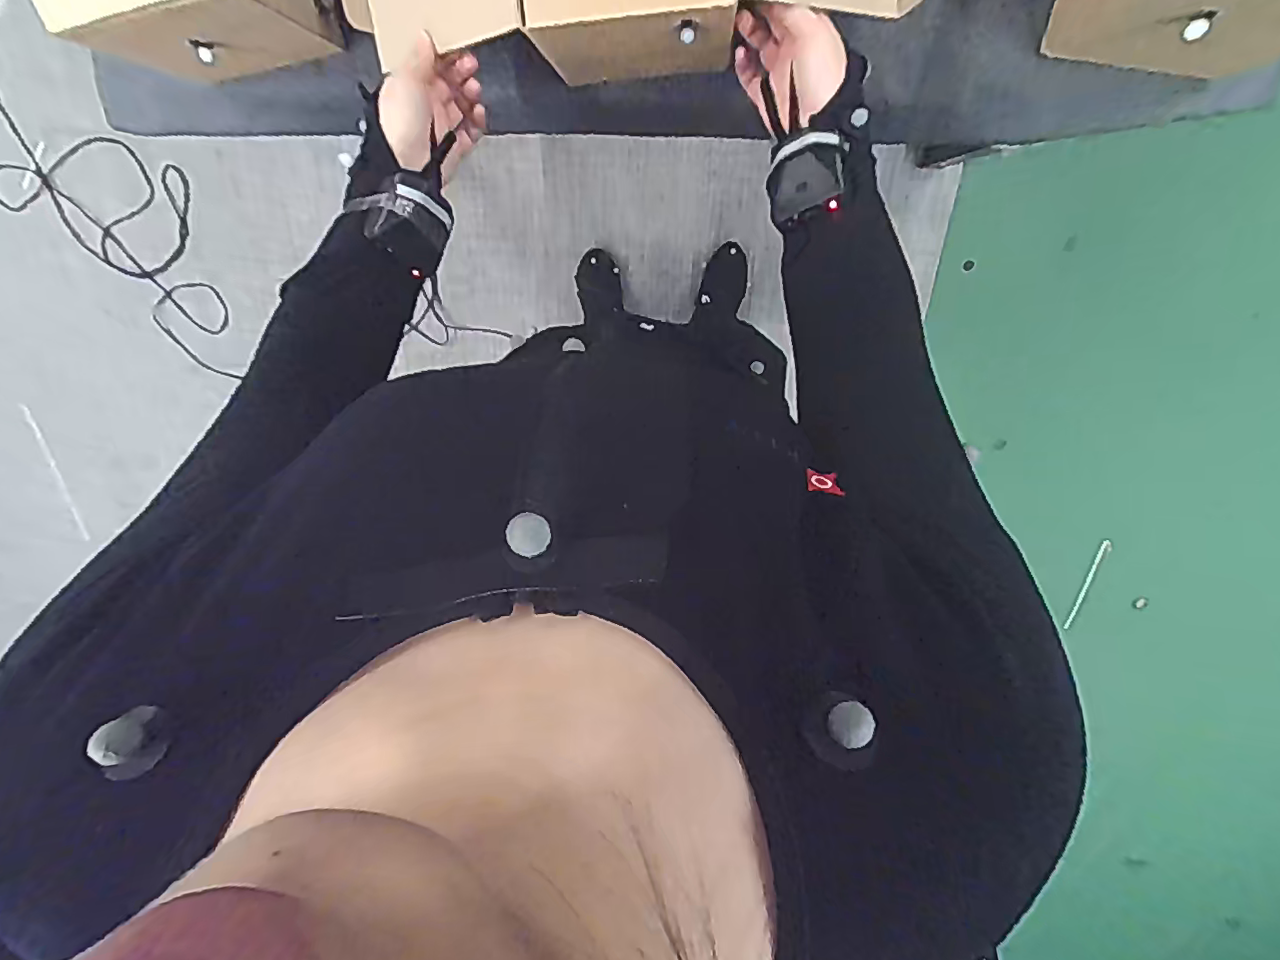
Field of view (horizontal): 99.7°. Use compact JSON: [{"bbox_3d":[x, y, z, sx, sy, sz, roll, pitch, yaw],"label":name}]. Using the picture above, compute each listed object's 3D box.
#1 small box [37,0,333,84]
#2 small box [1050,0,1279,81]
[{"bbox_3d":[-0.413,-0.484,0.483,0.179,0.176,0.168,-7,114,8],"label":"small box"},{"bbox_3d":[0.482,-0.446,0.426,0.179,0.176,0.168,9,111,1],"label":"small box"}]
